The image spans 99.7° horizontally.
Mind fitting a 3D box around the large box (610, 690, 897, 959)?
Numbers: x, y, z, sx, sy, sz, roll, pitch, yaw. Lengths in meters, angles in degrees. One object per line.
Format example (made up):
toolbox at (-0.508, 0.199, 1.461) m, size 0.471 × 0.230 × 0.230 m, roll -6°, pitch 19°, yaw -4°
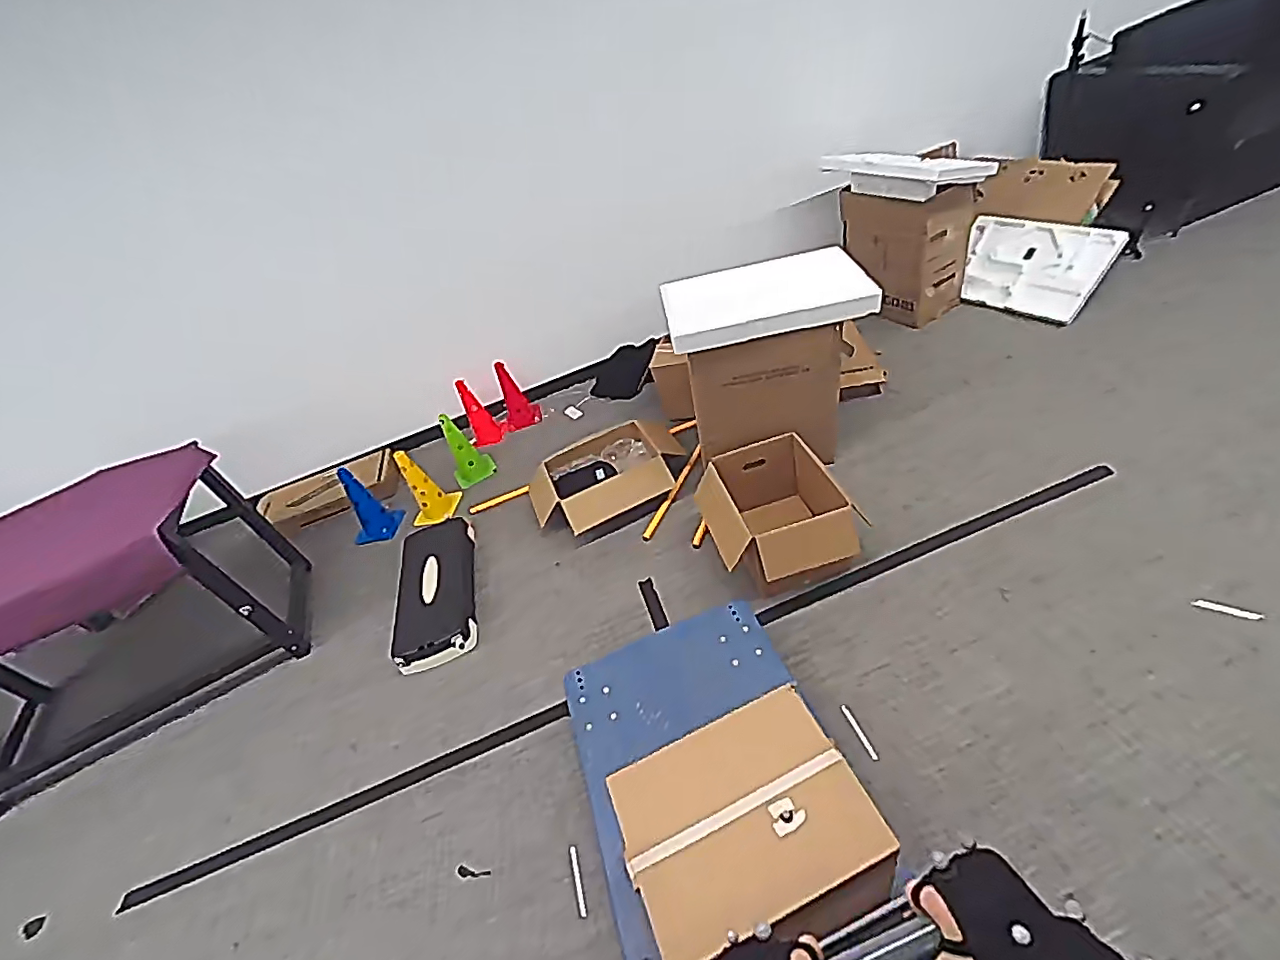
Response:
large box at (0.206, 0.688, 1.024) m, size 0.408 × 0.320 × 0.320 m, roll -23°, pitch 40°, yaw -8°
